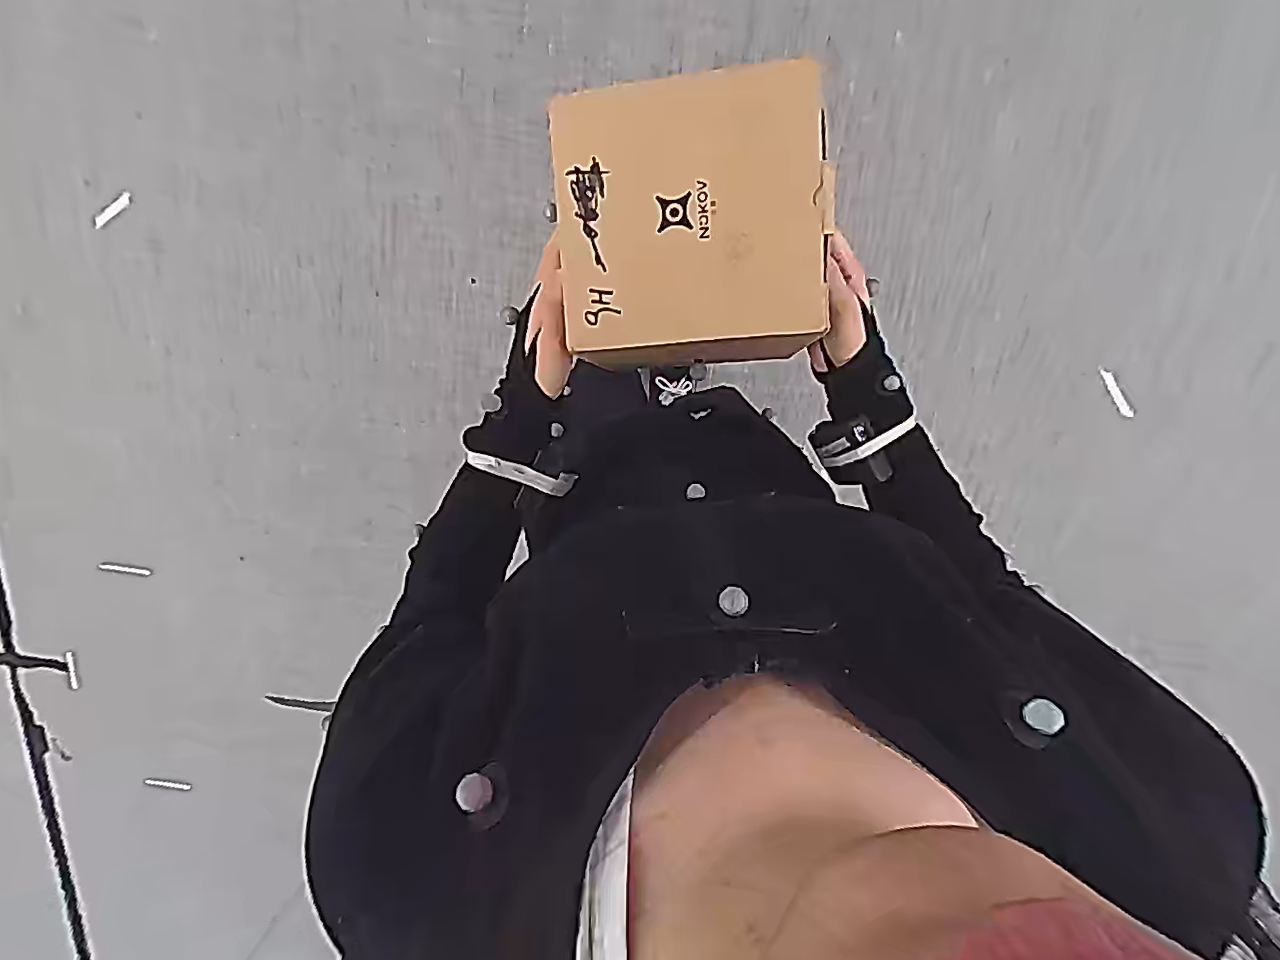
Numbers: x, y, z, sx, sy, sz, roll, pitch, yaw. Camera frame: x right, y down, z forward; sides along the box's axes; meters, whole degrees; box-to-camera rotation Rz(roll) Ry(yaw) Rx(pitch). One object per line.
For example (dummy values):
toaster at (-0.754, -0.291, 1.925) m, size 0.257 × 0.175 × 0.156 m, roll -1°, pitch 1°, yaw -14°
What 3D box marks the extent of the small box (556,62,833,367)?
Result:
small box at (0.041, -0.183, 0.428) m, size 0.179 × 0.176 × 0.168 m, roll -2°, pitch 96°, yaw 6°
